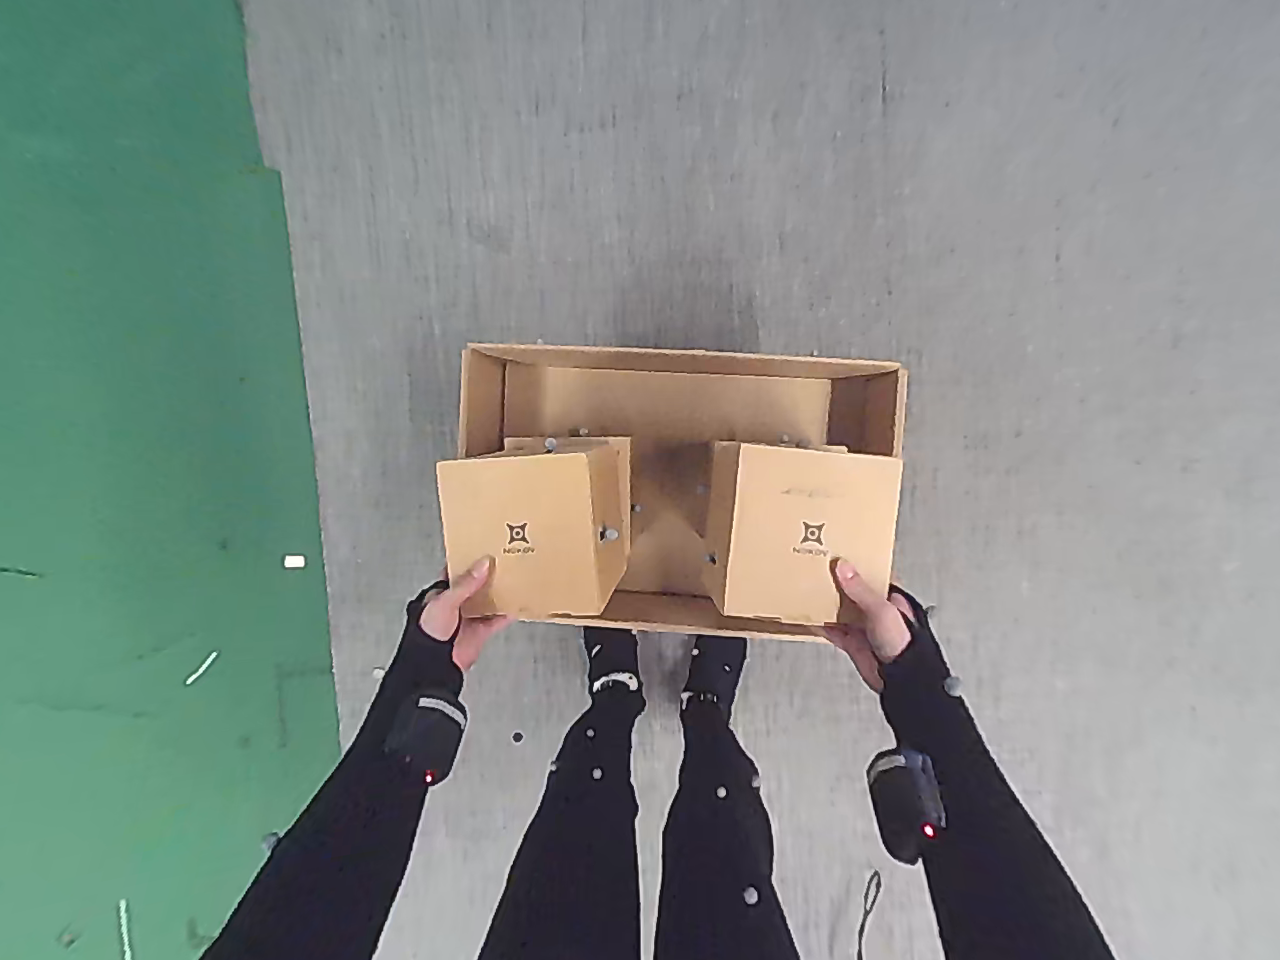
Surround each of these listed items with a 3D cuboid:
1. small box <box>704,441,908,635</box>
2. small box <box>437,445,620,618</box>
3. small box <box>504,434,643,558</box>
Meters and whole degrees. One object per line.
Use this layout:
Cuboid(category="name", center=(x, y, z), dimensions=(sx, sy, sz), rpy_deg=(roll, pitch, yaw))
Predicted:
Cuboid(category="small box", center=(0.169, 0.055, 0.606), dimensions=(0.168, 0.176, 0.179), rpy_deg=(6, 91, -1))
Cuboid(category="small box", center=(-0.118, 0.049, 0.637), dimensions=(0.168, 0.176, 0.179), rpy_deg=(-3, 97, 7))
Cuboid(category="small box", center=(-0.092, 0.018, 0.808), dimensions=(0.179, 0.176, 0.168), rpy_deg=(1, 93, 5))
